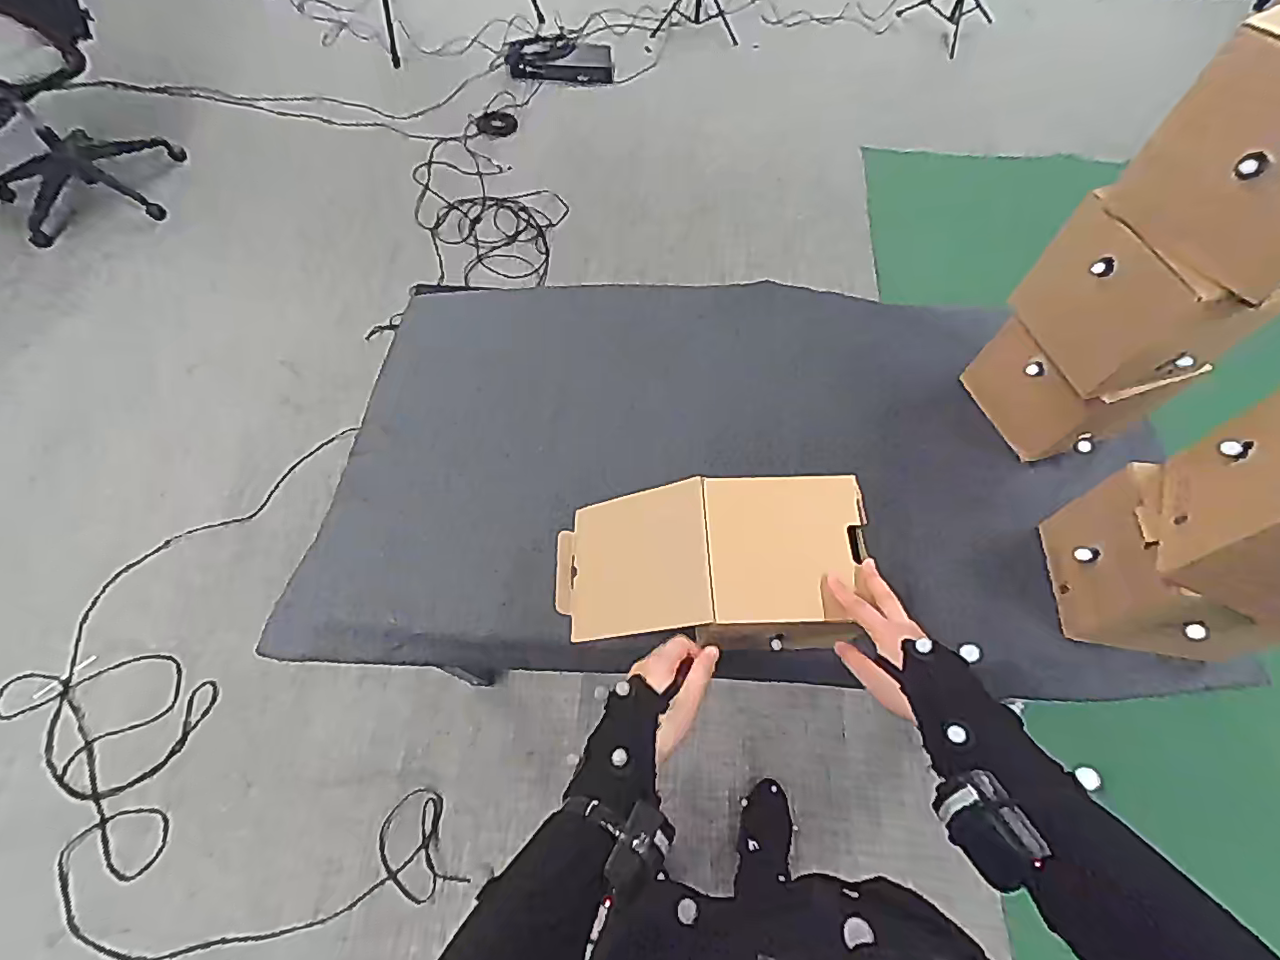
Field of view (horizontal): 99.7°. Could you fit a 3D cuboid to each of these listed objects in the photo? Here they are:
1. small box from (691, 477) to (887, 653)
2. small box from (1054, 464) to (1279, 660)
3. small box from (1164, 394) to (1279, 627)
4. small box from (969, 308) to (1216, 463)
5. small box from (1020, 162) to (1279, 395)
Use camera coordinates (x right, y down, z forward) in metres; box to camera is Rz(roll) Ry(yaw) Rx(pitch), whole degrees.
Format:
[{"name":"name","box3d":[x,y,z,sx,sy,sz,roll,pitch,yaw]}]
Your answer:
[{"name":"small box","box3d":[0.158,0.105,0.638,0.179,0.176,0.168,-1,63,1]},{"name":"small box","box3d":[0.634,0.103,0.640,0.179,0.176,0.168,8,59,5]},{"name":"small box","box3d":[0.638,0.034,0.491,0.179,0.176,0.168,28,62,14]},{"name":"small box","box3d":[0.625,-0.152,0.779,0.168,0.176,0.179,-18,65,-6]},{"name":"small box","box3d":[0.601,-0.228,0.632,0.168,0.176,0.179,-14,63,-4]}]
